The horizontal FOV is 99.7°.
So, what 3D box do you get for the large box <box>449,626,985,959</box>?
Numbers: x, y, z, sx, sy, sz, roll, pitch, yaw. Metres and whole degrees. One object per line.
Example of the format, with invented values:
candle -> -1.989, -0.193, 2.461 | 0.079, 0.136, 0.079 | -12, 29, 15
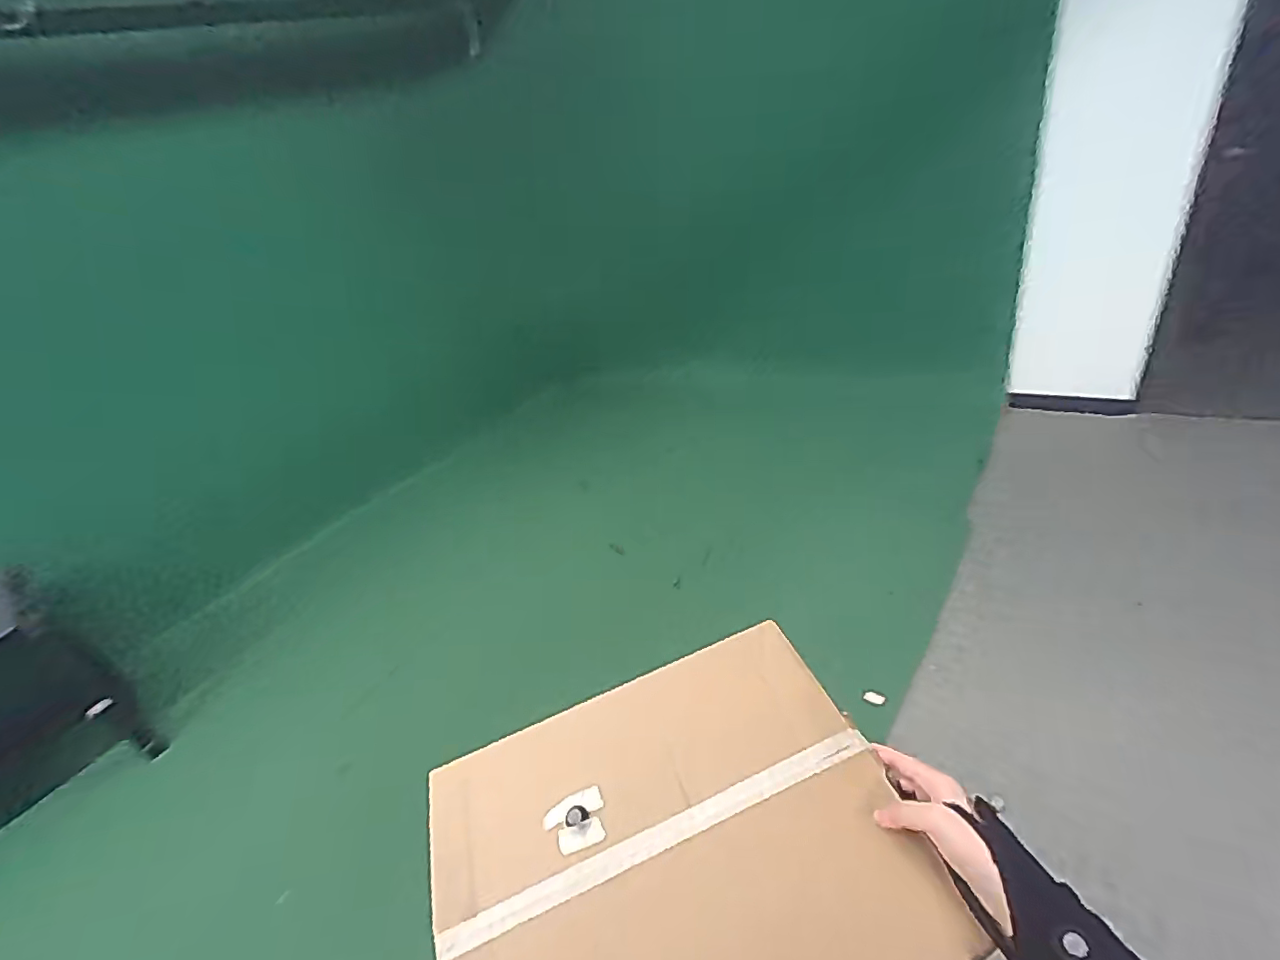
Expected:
large box -> 0.061, 0.435, 0.581 | 0.408, 0.320, 0.320 | -22, 39, -7
